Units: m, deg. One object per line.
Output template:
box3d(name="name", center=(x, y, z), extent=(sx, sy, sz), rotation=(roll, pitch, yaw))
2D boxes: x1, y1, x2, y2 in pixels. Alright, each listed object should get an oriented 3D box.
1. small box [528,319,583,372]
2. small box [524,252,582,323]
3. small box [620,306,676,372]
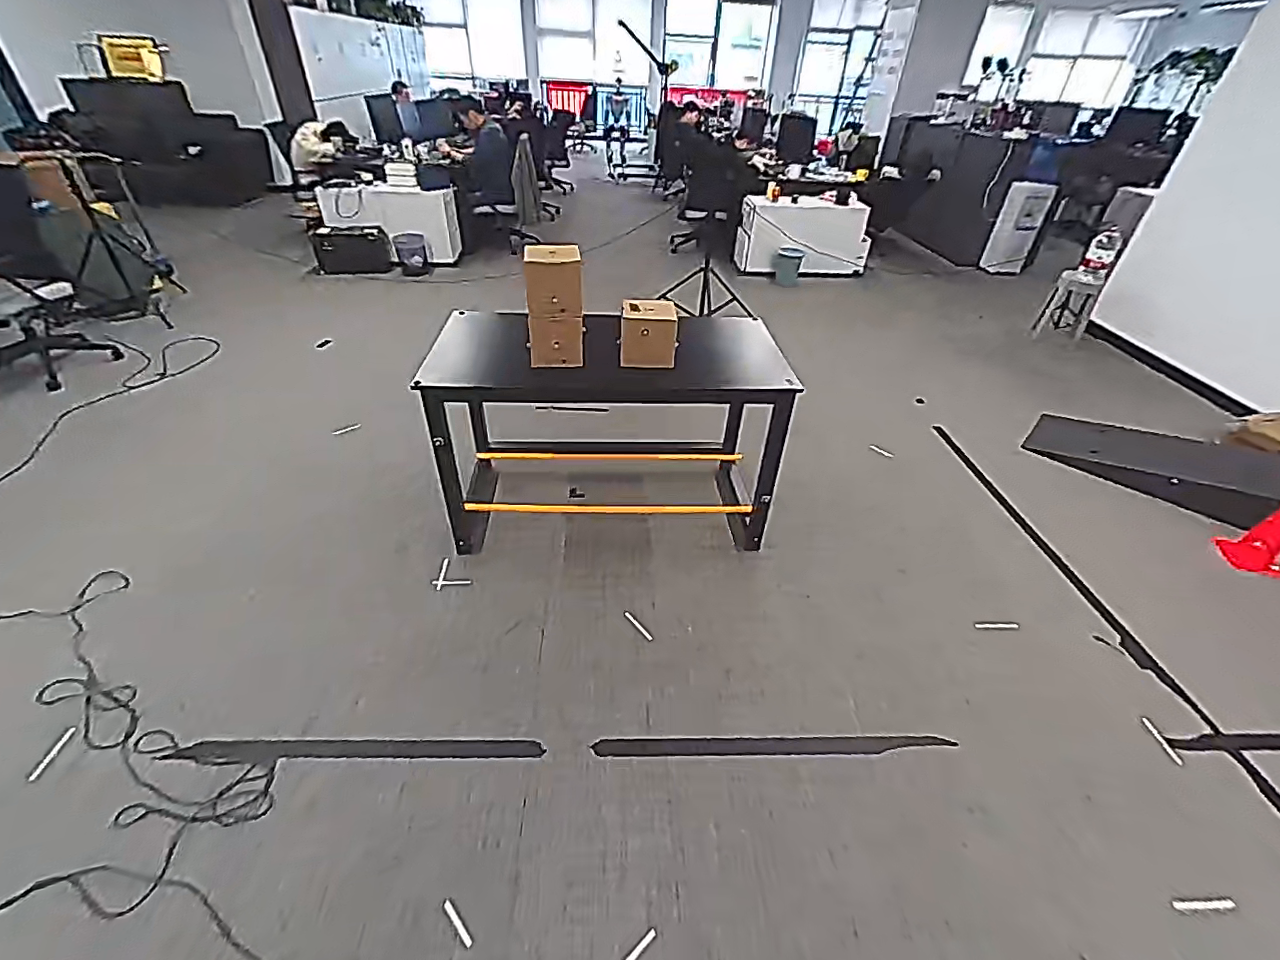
box3d(name="small box", center=(-0.276, -0.467, 1.786), extent=(0.168, 0.176, 0.179), rotation=(-3, 38, -7))
box3d(name="small box", center=(-0.270, -0.602, 1.688), extent=(0.168, 0.176, 0.179), rotation=(-4, 38, -8))
box3d(name="small box", center=(0.022, -0.472, 1.805), extent=(0.179, 0.176, 0.168), rotation=(1, 37, -3))
